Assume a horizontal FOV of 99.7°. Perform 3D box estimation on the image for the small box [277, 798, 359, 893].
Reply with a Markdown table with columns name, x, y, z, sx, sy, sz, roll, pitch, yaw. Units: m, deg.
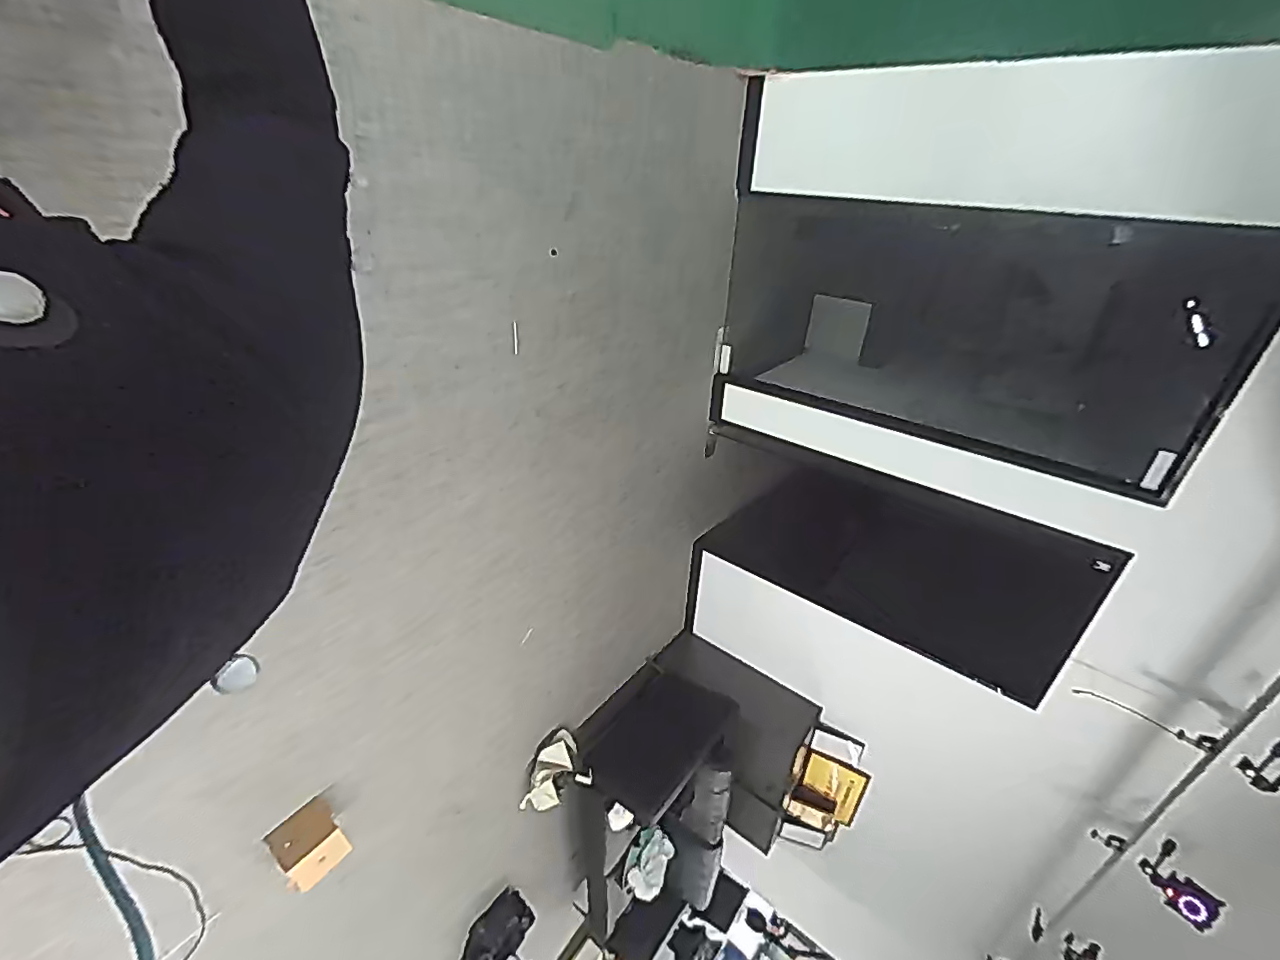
| name | x | y | z | sx | sy | sz | roll | pitch | yaw |
| --- | --- | --- | --- | --- | --- | --- | --- | --- | --- |
| small box | -1.109 | 1.247 | 1.854 | 0.179 | 0.176 | 0.168 | -36 | 138 | -41 |
